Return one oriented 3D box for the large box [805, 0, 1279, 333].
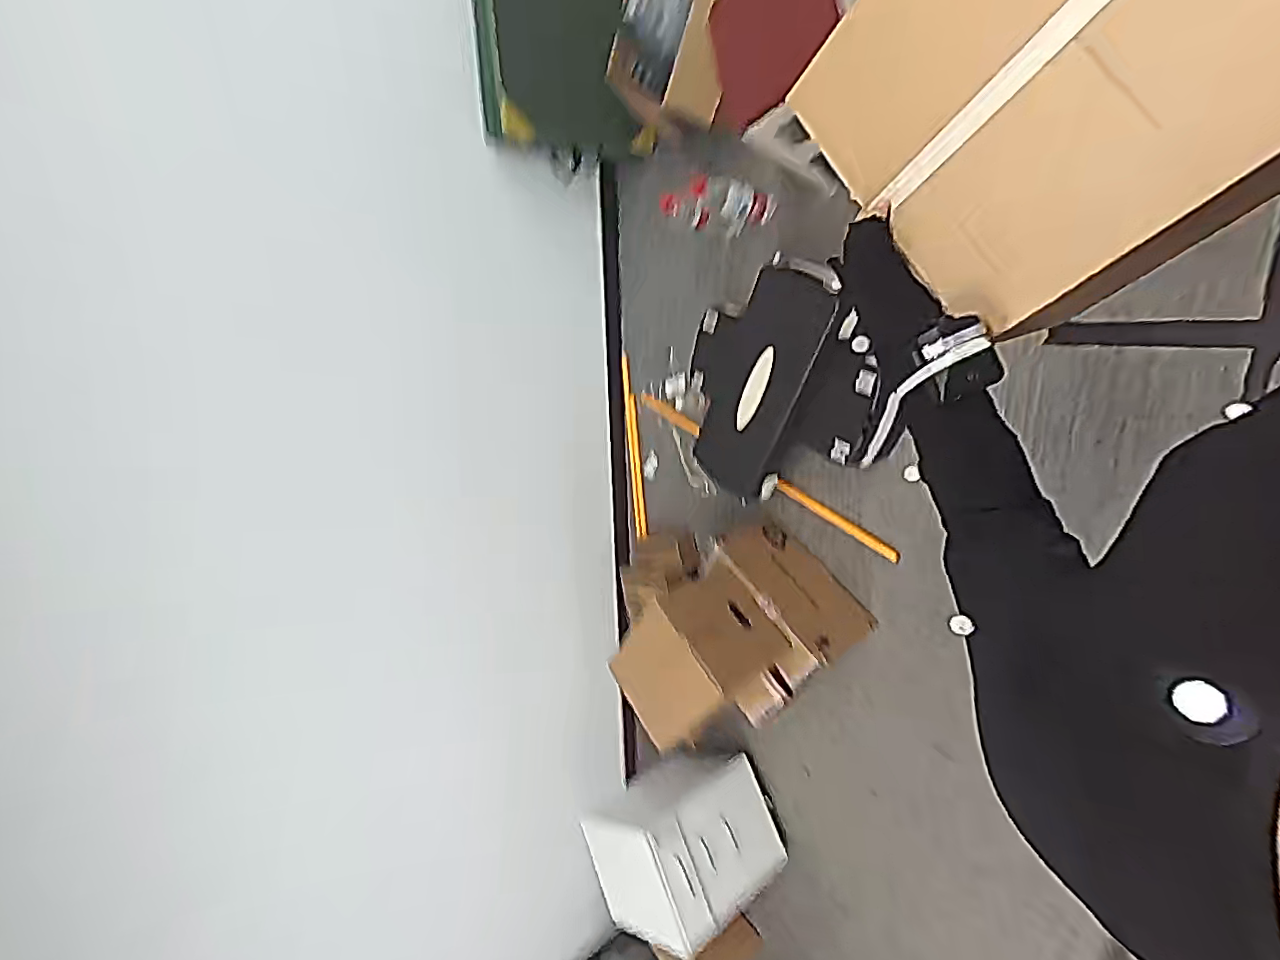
[{"bbox_3d":[0.433,-0.375,0.445,0.408,0.320,0.320,-40,73,49],"label":"large box"}]
